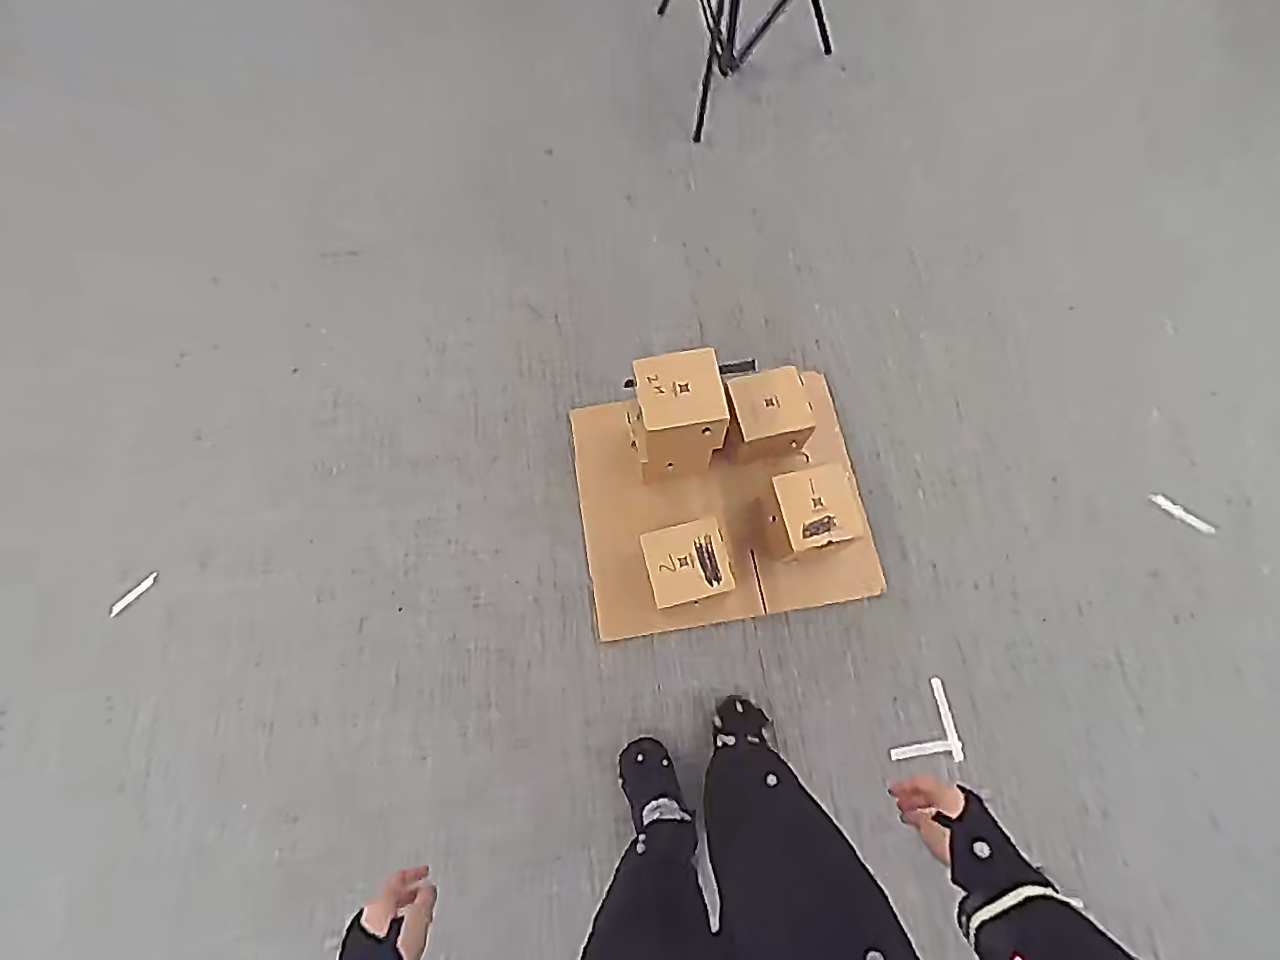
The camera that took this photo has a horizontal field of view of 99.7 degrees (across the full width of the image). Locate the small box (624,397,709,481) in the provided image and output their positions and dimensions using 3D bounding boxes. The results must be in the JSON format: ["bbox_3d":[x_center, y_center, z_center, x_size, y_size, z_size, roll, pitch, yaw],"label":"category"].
[{"bbox_3d":[0.070,-0.110,1.325,0.179,0.176,0.168,-14,73,-1],"label":"small box"}]

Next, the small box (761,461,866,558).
[{"bbox_3d":[0.393,0.077,1.255,0.168,0.176,0.179,-13,73,-1],"label":"small box"}]

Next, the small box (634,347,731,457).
[{"bbox_3d":[0.086,-0.162,1.167,0.179,0.176,0.168,-10,72,-1],"label":"small box"}]

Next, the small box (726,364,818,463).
[{"bbox_3d":[0.310,-0.159,1.333,0.179,0.176,0.168,-14,72,-1],"label":"small box"}]
